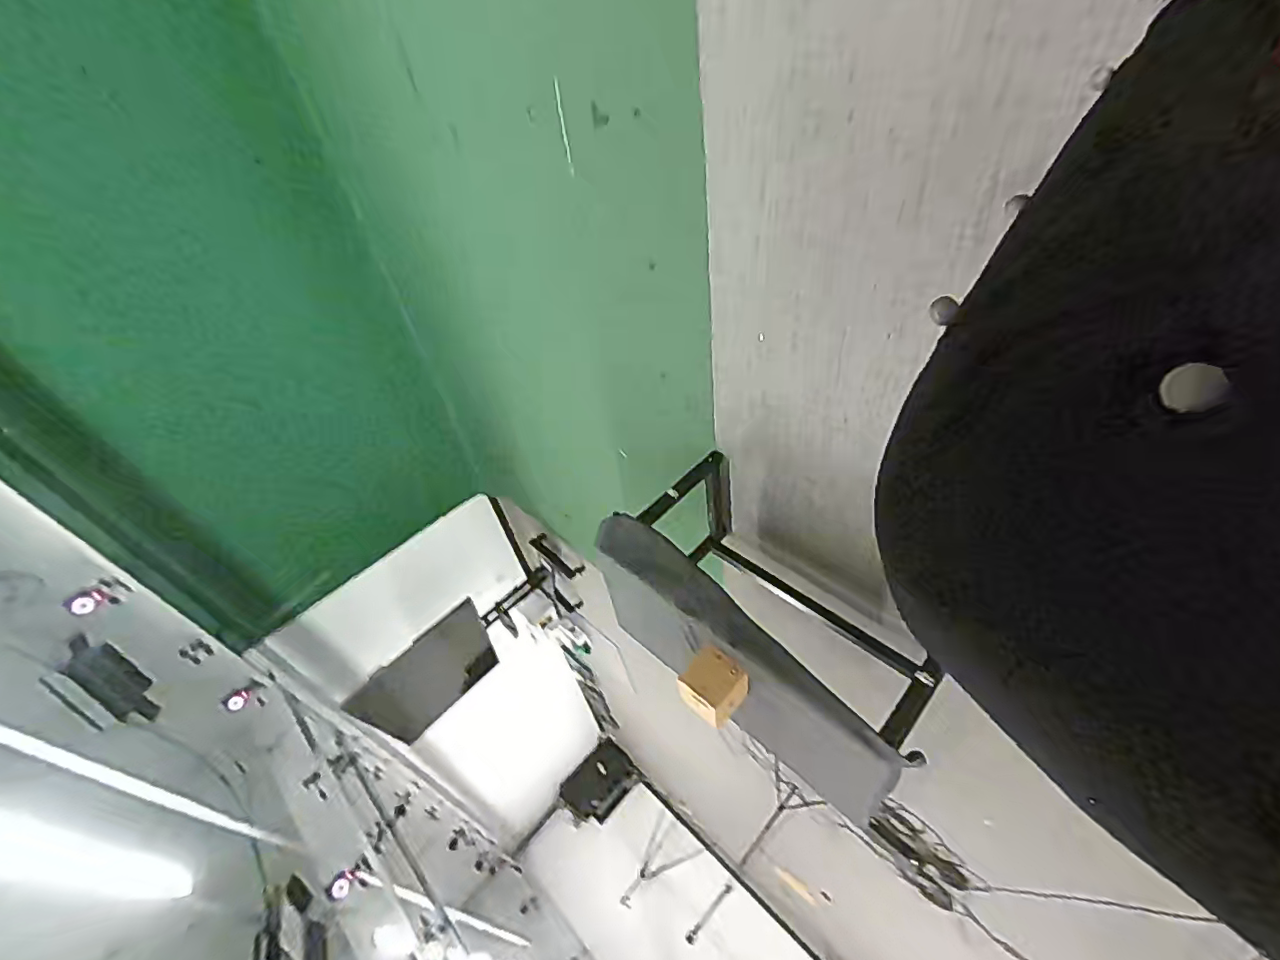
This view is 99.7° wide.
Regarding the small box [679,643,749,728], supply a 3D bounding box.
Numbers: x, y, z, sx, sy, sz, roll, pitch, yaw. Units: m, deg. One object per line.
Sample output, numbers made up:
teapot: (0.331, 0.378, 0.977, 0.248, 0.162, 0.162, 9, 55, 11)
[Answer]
small box: (0.254, 0.686, 1.821, 0.168, 0.176, 0.179, 29, 145, 37)
